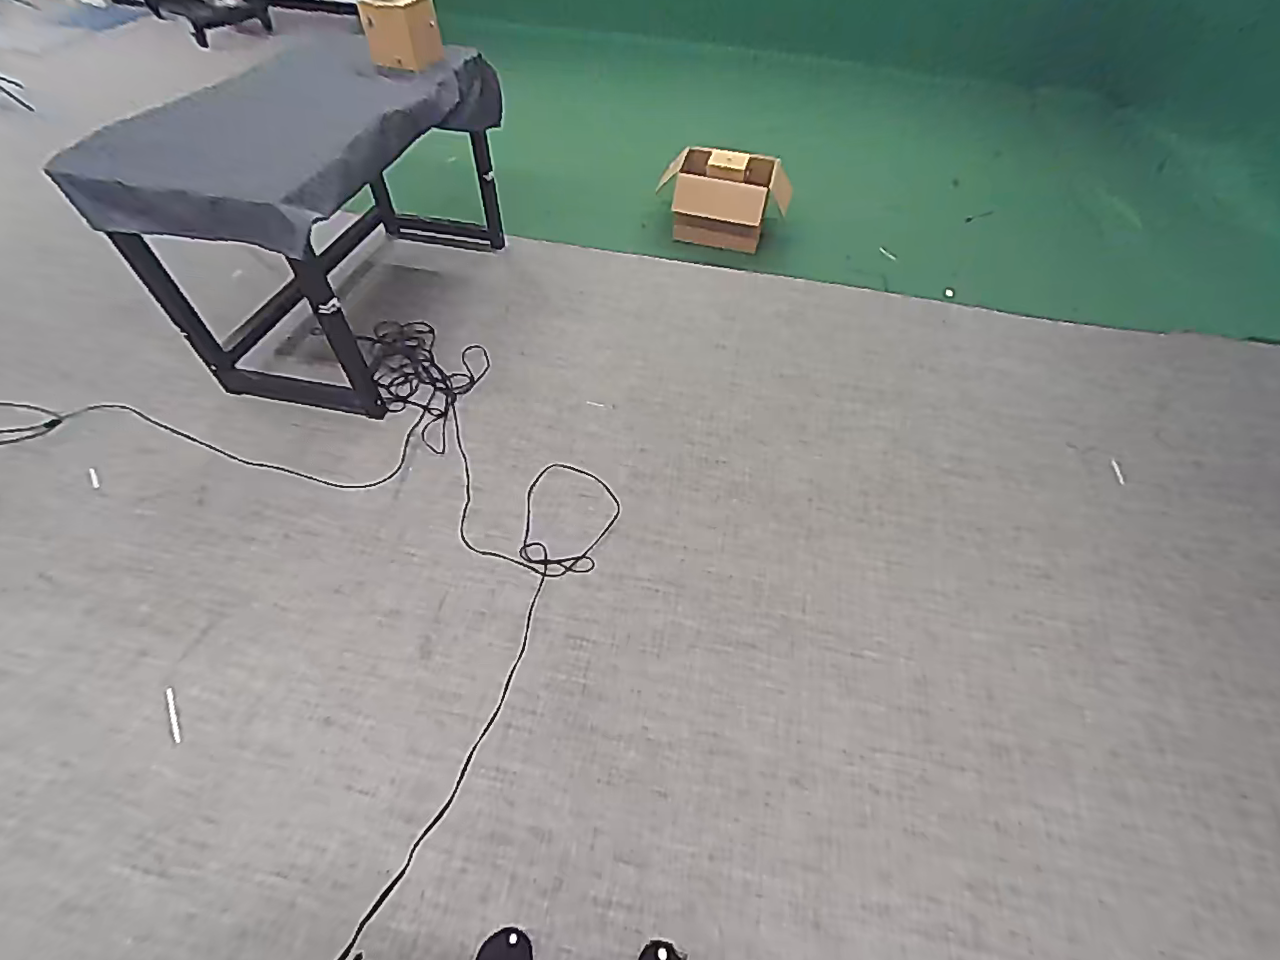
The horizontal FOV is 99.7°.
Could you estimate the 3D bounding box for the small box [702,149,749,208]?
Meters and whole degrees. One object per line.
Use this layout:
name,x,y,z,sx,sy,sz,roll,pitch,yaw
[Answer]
small box,0.384,-1.357,2.438,0.168,0.176,0.179,14,52,7
